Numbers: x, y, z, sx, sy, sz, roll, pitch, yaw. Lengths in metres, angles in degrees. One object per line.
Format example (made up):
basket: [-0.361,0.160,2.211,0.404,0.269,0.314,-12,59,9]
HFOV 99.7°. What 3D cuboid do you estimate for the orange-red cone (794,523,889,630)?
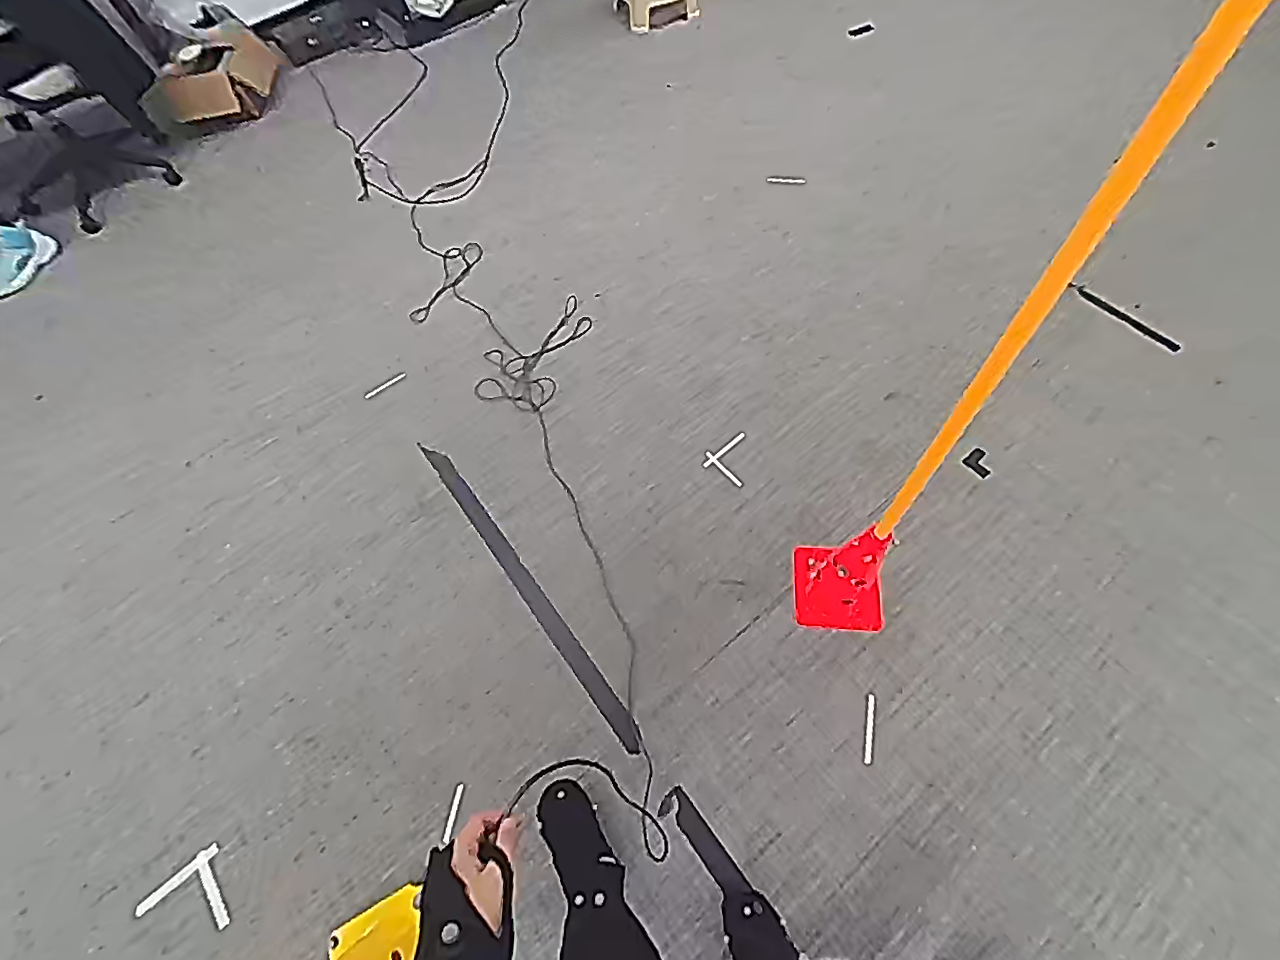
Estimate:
orange-red cone: [0.453,0.176,1.140,0.198,0.360,0.199,3,64,8]
